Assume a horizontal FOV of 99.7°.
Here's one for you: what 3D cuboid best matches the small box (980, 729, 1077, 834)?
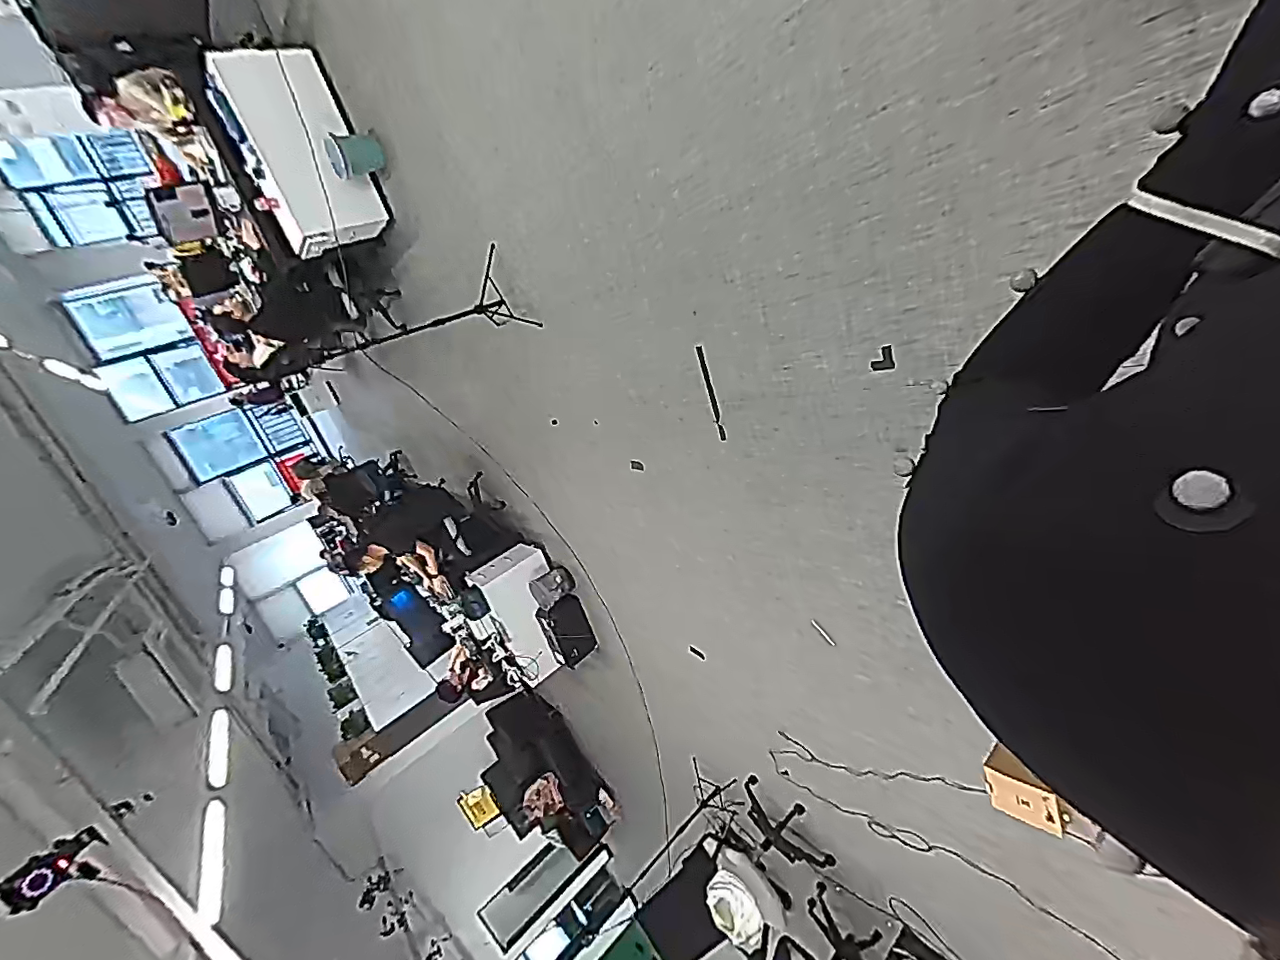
[{"bbox_3d":[1.123,0.857,1.562,0.179,0.176,0.168,4,121,54],"label":"small box"}]
